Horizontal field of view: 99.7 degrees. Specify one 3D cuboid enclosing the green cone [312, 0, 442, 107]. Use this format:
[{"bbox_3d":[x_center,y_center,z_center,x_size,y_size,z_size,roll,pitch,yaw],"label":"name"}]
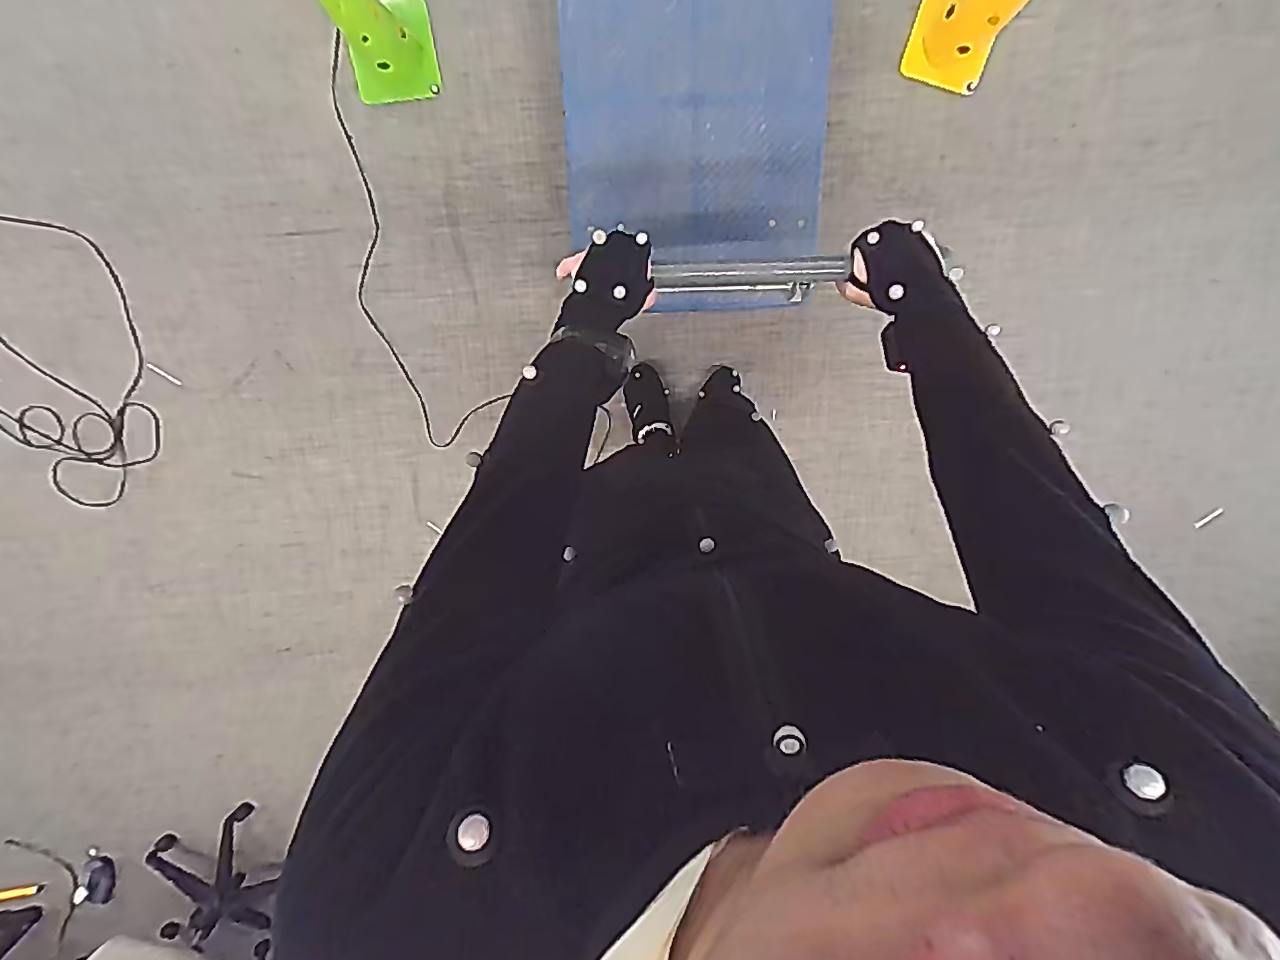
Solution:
[{"bbox_3d":[-0.585,-0.956,1.115,0.202,0.368,0.200,-6,108,3],"label":"green cone"}]
